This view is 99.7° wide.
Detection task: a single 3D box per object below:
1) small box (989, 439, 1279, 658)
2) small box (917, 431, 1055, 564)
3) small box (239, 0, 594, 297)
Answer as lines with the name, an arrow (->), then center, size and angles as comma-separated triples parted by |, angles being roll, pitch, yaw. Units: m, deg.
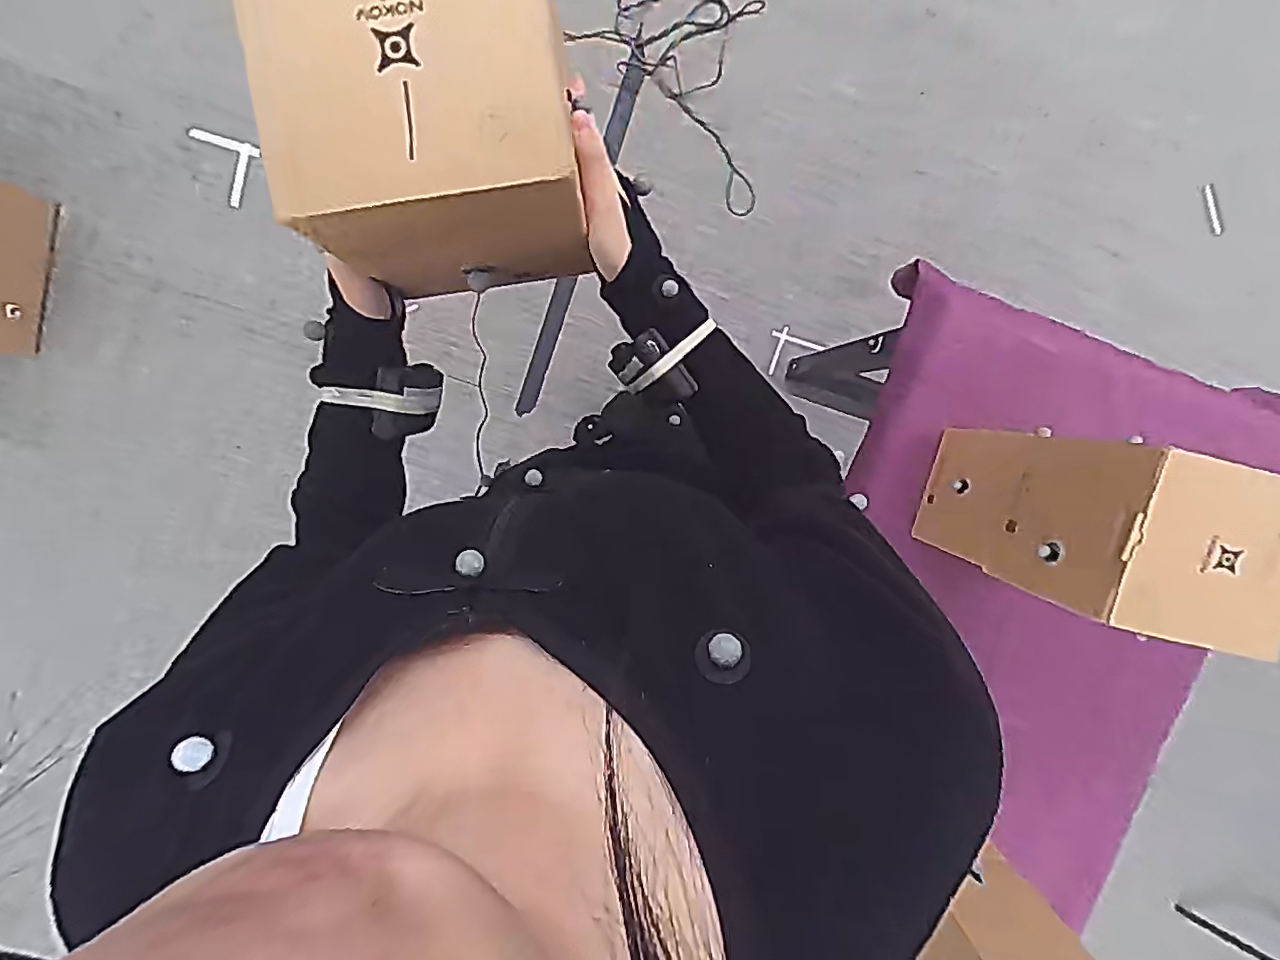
small box -> 0.511, 0.056, 0.558 | 0.179, 0.176, 0.168 | 12, 98, -6
small box -> 0.510, 0.034, 0.719 | 0.179, 0.176, 0.168 | 14, 97, -5
small box -> -0.128, -0.243, 0.366 | 0.168, 0.176, 0.179 | -9, 94, 1
